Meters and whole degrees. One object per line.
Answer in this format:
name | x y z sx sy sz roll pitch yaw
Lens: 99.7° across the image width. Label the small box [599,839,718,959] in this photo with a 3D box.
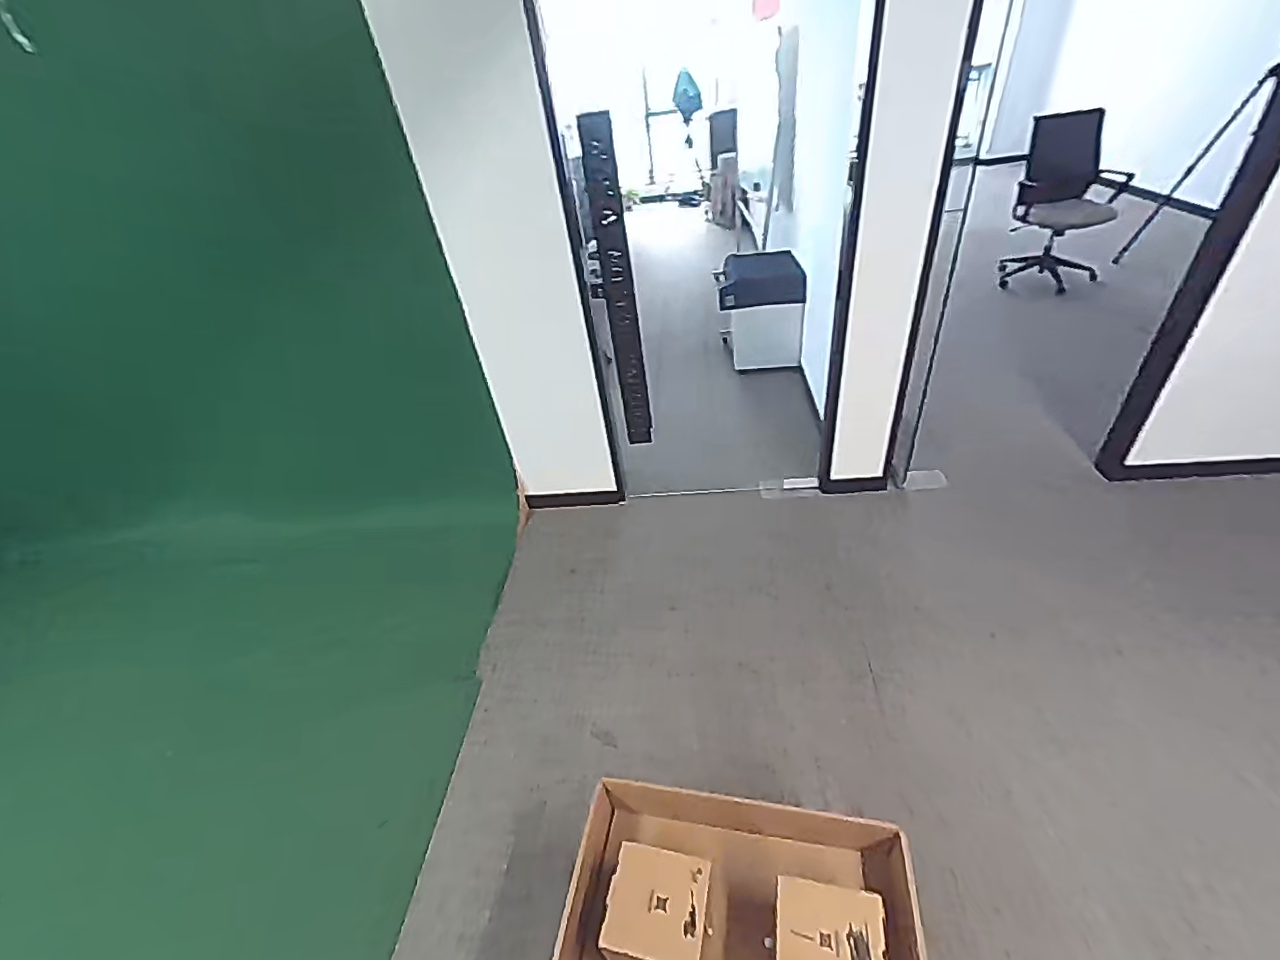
small box | 0.043 0.807 1.004 0.179 0.176 0.168 3 38 17
